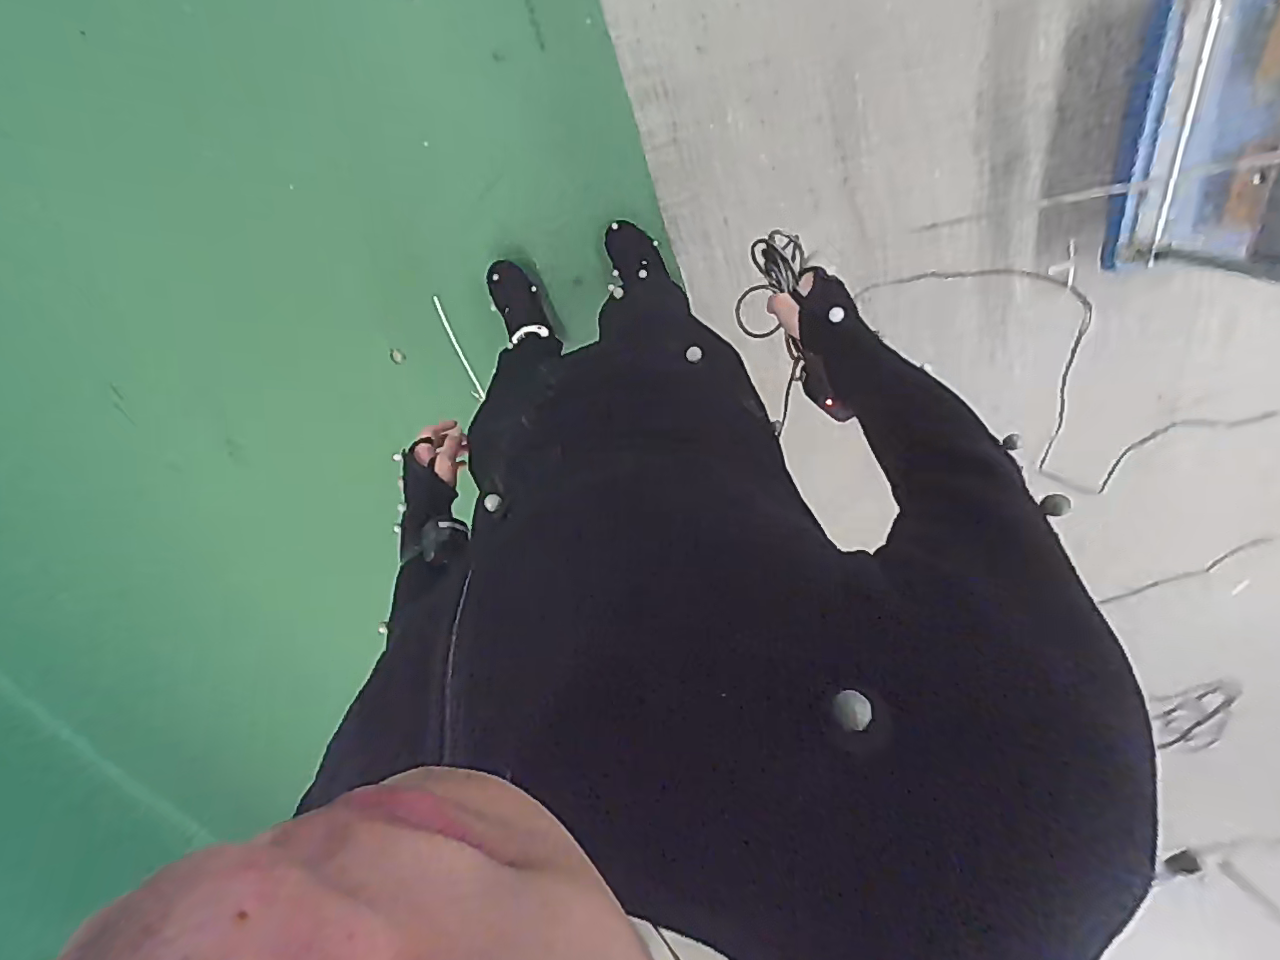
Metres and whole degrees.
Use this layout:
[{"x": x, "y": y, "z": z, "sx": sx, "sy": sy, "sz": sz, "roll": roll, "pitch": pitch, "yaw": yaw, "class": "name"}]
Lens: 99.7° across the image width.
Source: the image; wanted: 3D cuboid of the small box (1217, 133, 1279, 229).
[{"x": 1.379, "y": -0.626, "z": 1.111, "sx": 0.179, "sy": 0.176, "sz": 0.168, "roll": -8, "pitch": 120, "yaw": 5, "class": "small box"}]
